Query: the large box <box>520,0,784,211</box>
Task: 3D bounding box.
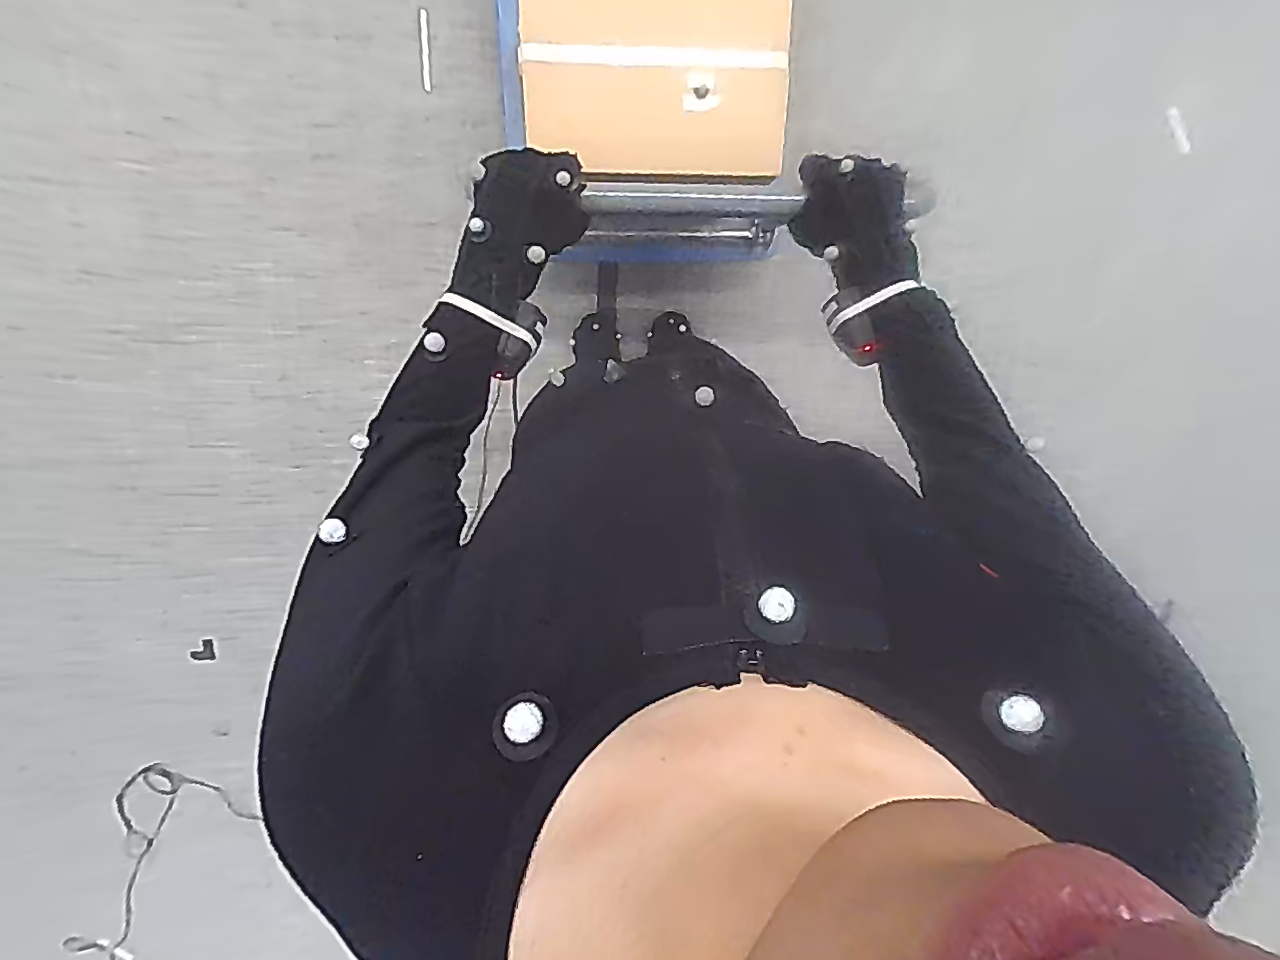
[{"bbox_3d":[0.008,-0.683,0.970,0.408,0.320,0.320,-2,107,-5],"label":"large box"}]
